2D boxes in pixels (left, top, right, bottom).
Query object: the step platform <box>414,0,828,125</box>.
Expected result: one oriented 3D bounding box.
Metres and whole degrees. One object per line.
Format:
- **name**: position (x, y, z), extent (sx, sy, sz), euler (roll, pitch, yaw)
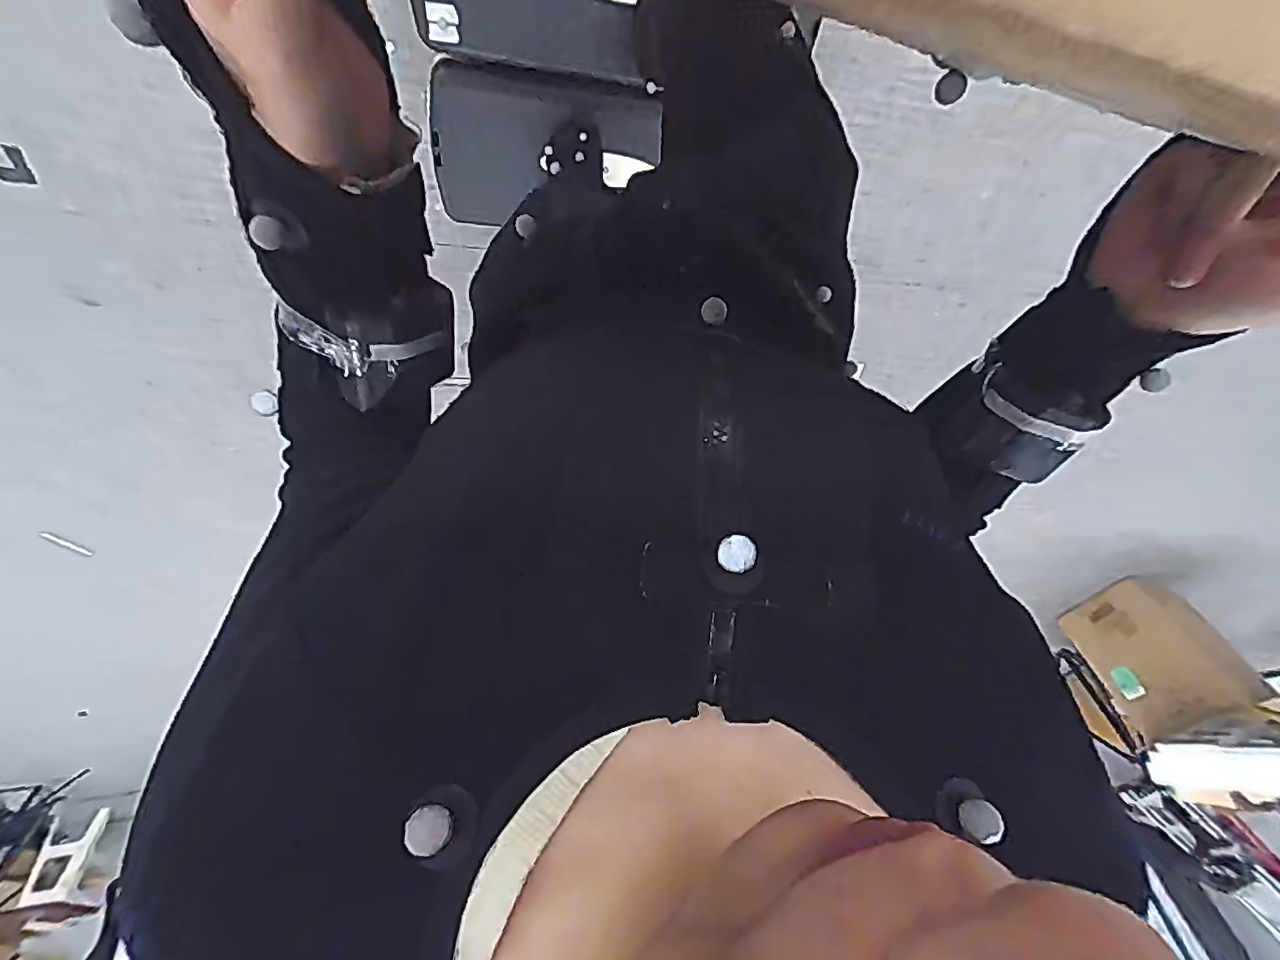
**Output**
- **step platform**: position (-0.026, -0.839, 0.903), extent (0.684, 0.204, 0.286), euler (5, 132, -14)
